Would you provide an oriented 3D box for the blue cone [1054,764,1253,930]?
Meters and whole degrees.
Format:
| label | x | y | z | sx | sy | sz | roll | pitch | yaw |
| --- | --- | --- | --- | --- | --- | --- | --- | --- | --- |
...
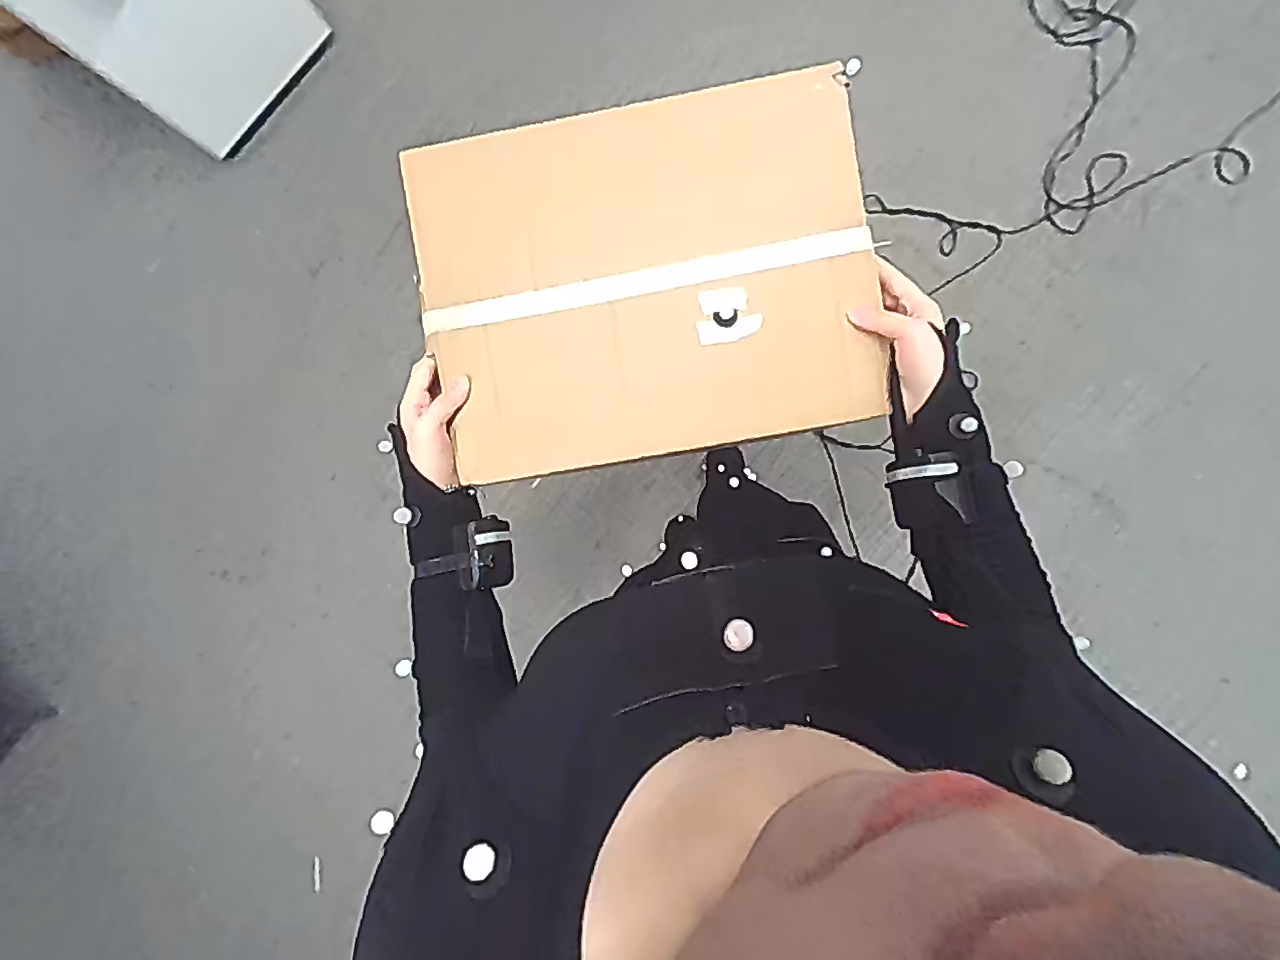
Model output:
| label | x | y | z | sx | sy | sz | roll | pitch | yaw |
| --- | --- | --- | --- | --- | --- | --- | --- | --- | --- |
| blue cone | 1.165 | 0.839 | 1.218 | 0.193 | 0.380 | 0.192 | -42 | 86 | 3 |

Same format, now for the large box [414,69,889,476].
| label | x | y | z | sx | sy | sz | roll | pitch | yaw |
| --- | --- | --- | --- | --- | --- | --- | --- | --- | --- |
| large box | 0.012 | -0.191 | 0.646 | 0.408 | 0.320 | 0.320 | -9 | 92 | 2 |
